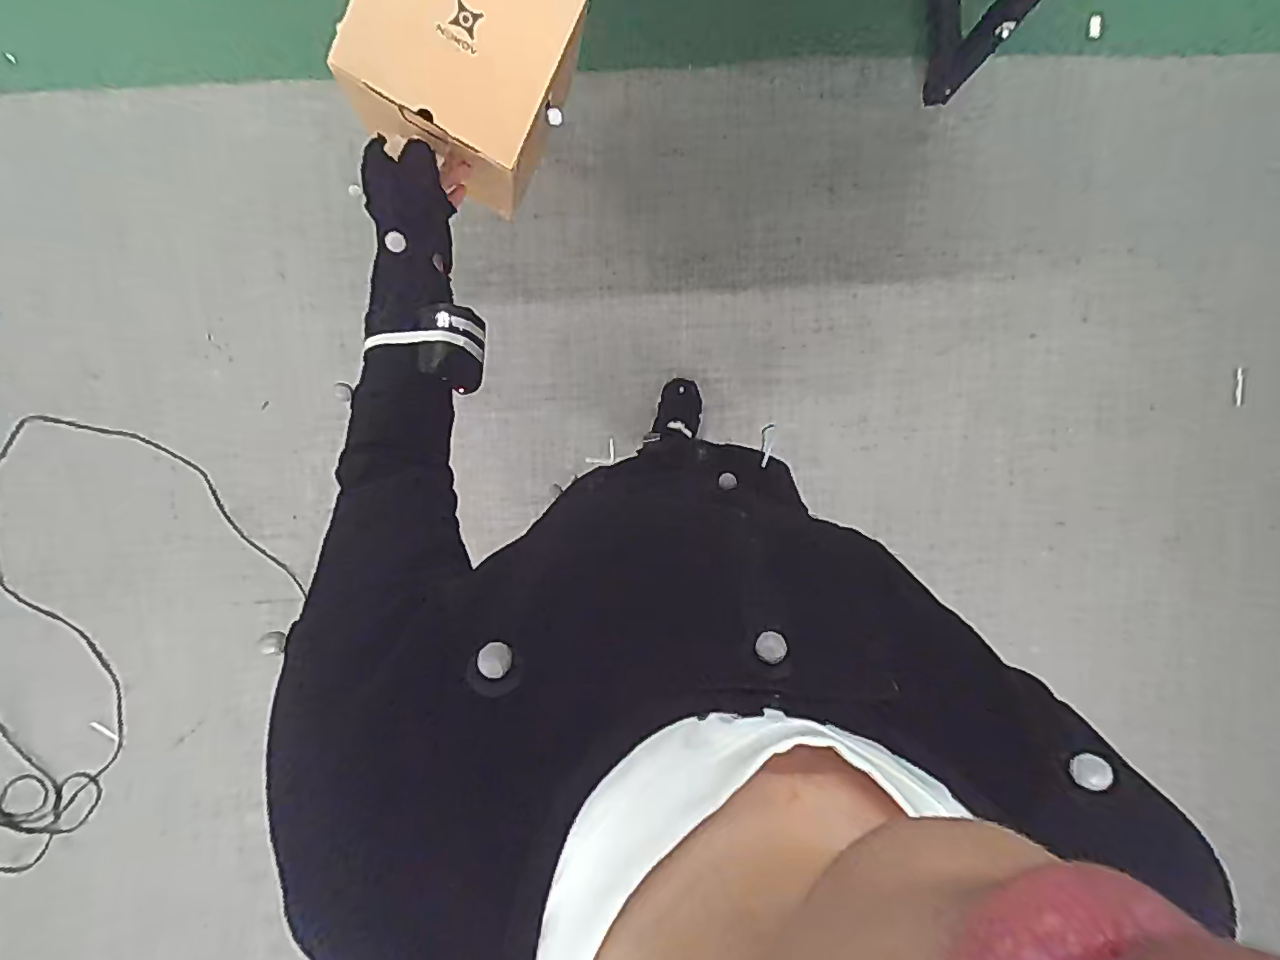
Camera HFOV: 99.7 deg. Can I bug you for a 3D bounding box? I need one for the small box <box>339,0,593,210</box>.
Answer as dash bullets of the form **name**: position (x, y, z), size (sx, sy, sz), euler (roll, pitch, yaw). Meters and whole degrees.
- **small box**: position (-0.167, -0.412, 0.547), size (0.168, 0.176, 0.179), euler (24, 97, -17)
